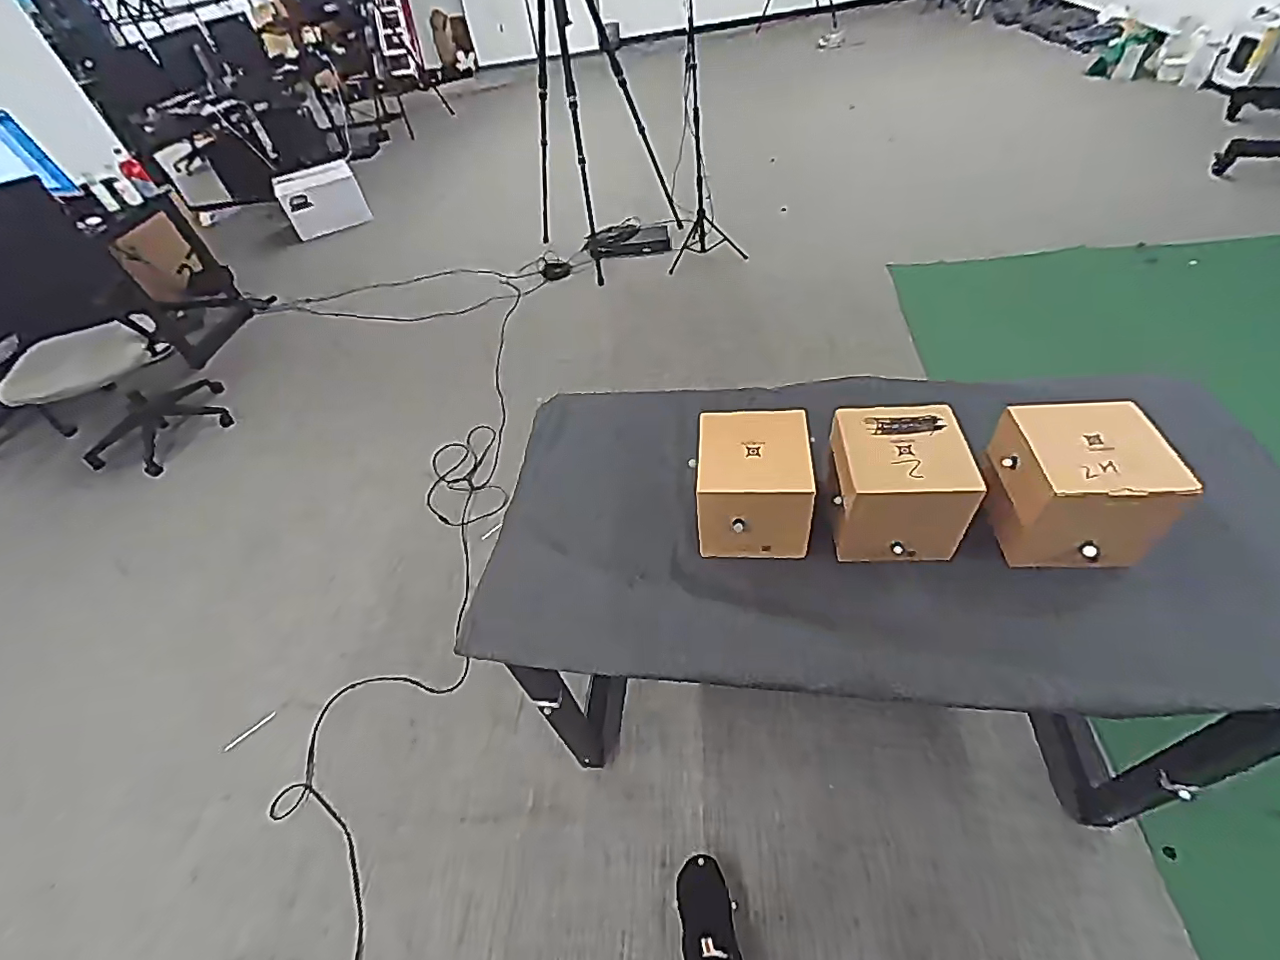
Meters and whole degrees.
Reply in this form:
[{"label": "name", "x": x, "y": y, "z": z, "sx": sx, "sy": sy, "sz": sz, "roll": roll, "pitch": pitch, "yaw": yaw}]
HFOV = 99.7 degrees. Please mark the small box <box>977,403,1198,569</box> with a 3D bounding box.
[{"label": "small box", "x": 0.623, "y": 0.009, "z": 0.788, "sx": 0.168, "sy": 0.176, "sz": 0.179, "roll": -2, "pitch": 47, "yaw": 10}]
